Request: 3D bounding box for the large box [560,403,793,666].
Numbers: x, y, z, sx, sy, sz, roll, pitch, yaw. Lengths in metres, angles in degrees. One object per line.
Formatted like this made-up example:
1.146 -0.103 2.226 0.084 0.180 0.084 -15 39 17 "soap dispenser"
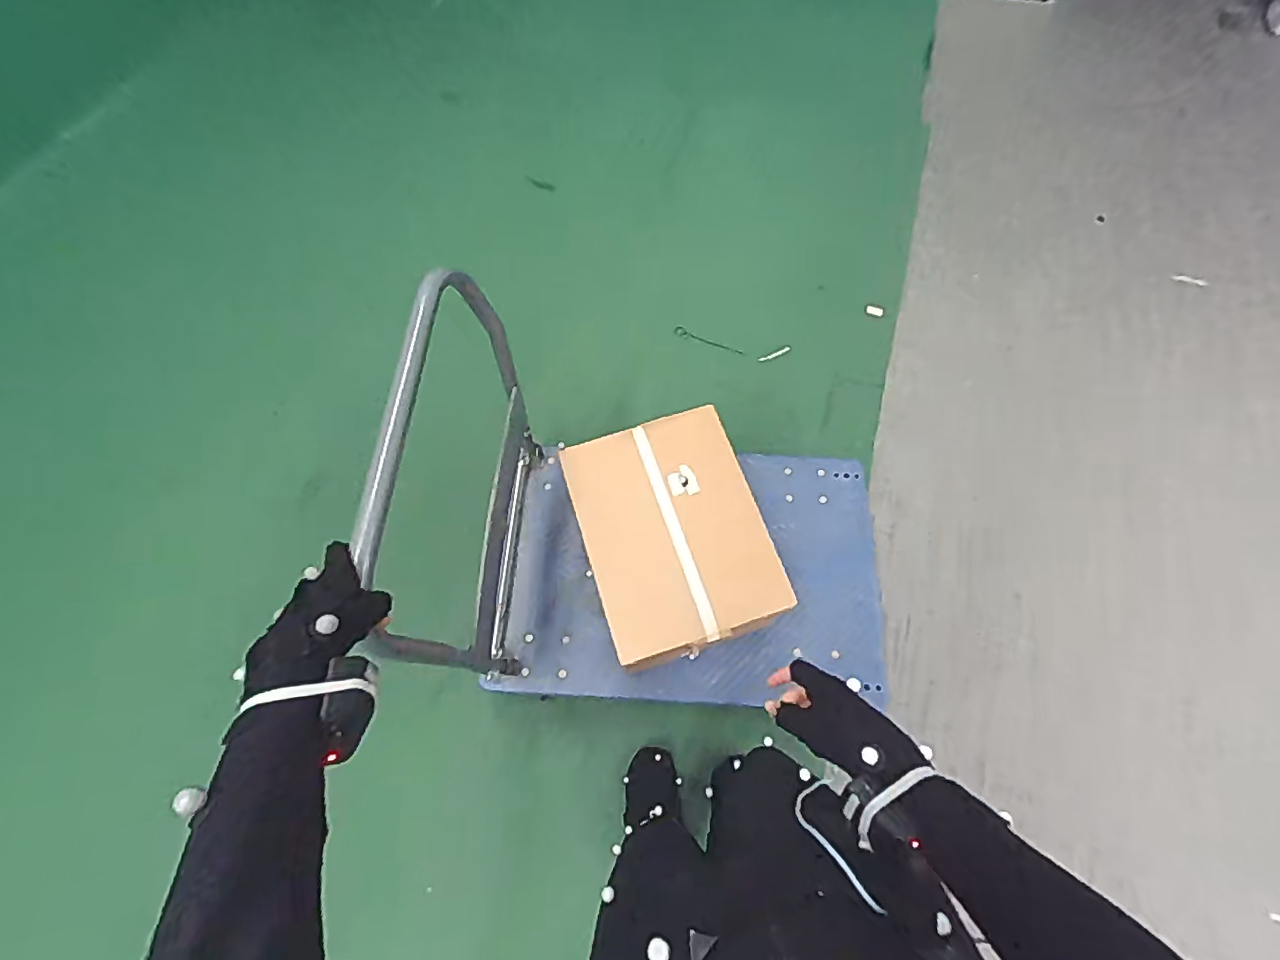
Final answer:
0.059 0.124 1.097 0.320 0.320 0.408 -17 68 -6 "large box"
